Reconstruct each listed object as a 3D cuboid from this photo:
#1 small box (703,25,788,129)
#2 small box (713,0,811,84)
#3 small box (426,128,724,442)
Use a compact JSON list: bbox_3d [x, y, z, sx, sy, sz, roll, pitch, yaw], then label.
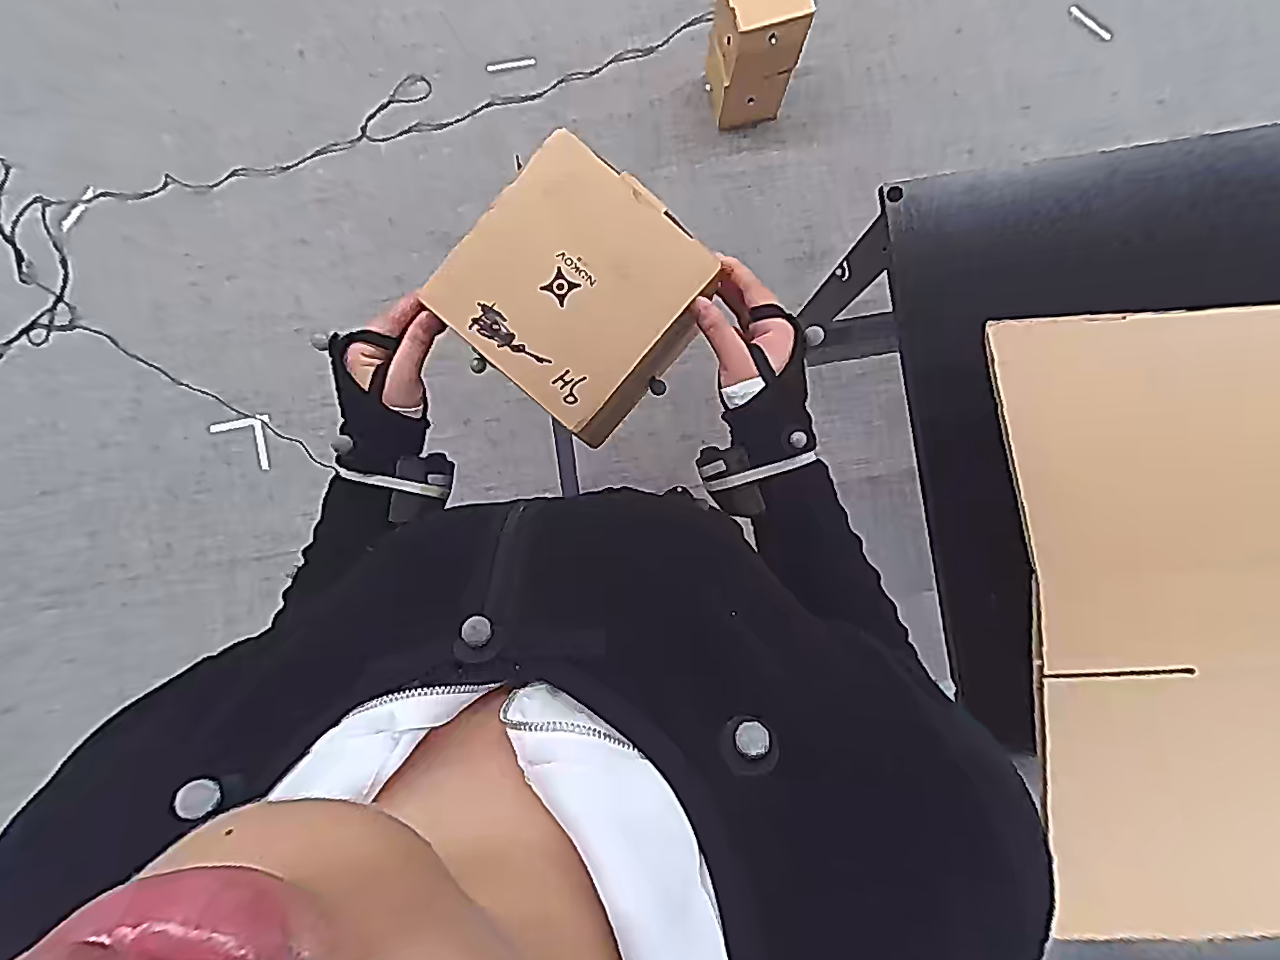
[{"bbox_3d":[0.274,-1.080,1.438,0.179,0.176,0.168,-12,88,2],"label":"small box"},{"bbox_3d":[0.277,-1.085,1.275,0.179,0.176,0.168,-15,89,0],"label":"small box"},{"bbox_3d":[-0.051,-0.155,0.495,0.168,0.176,0.179,41,89,2],"label":"small box"}]
